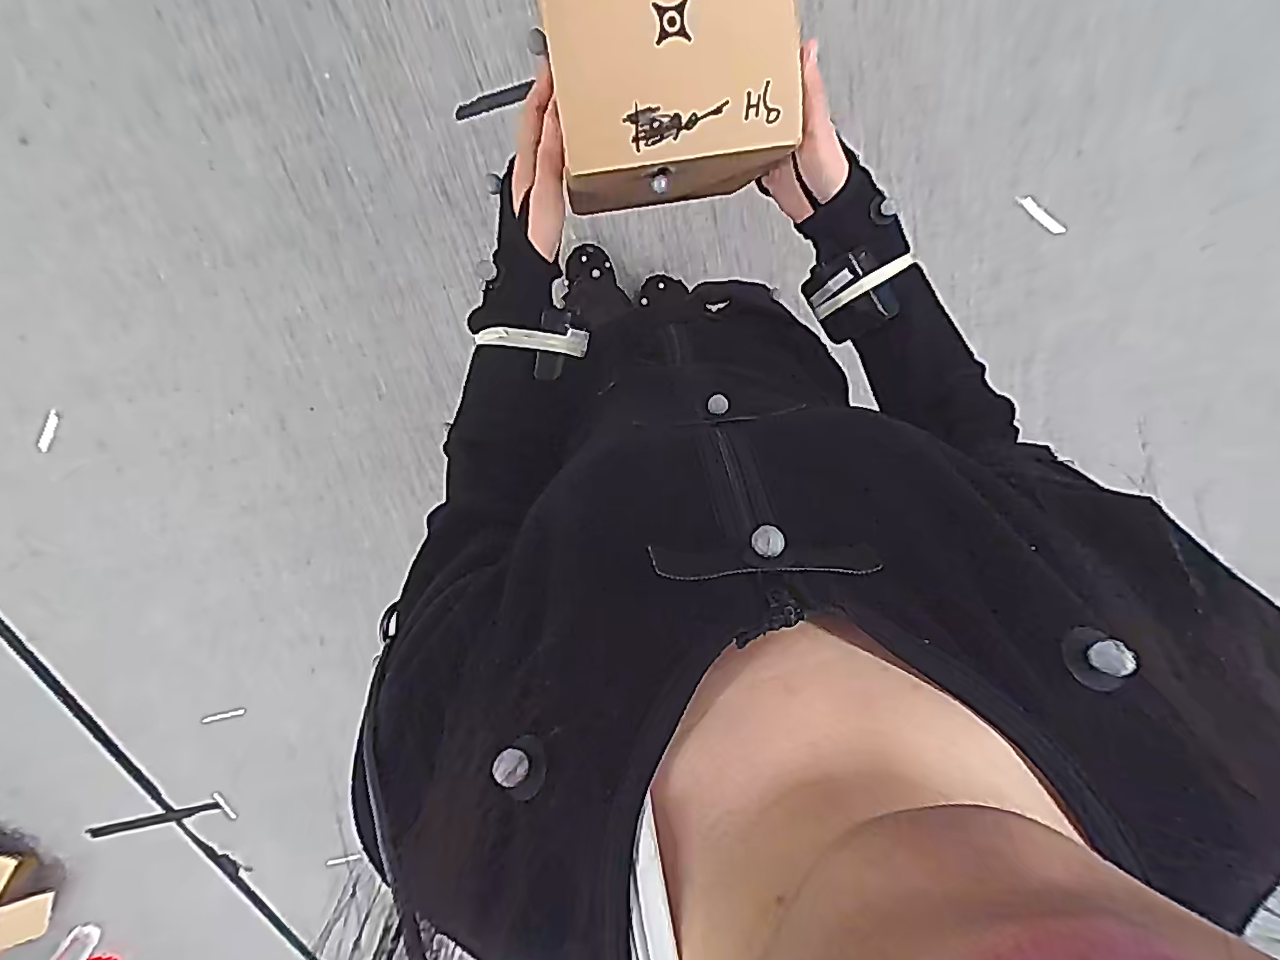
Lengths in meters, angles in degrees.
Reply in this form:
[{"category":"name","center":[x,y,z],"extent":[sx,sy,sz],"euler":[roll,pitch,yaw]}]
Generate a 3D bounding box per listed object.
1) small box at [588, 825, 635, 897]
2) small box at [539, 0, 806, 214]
[{"category":"small box","center":[-0.113,1.478,2.103],"extent":[0.179,0.176,0.168],"euler":[1,113,-5]},{"category":"small box","center":[0.014,-0.323,0.416],"extent":[0.168,0.176,0.179],"euler":[-10,108,-3]}]
